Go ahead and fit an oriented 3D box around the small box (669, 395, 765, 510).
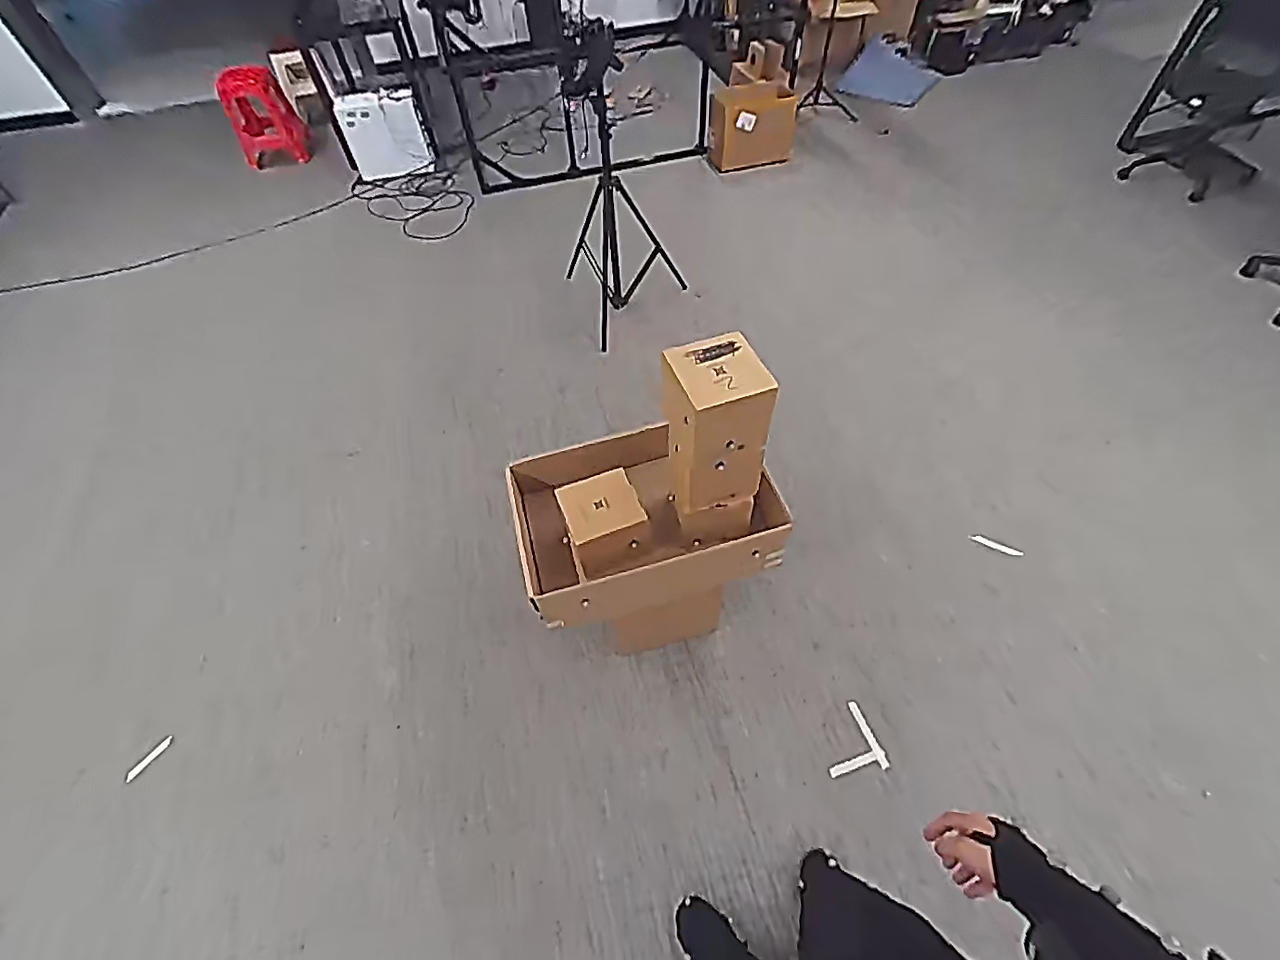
[{"bbox_3d":[0.162,-0.060,1.208,0.168,0.176,0.179,-13,53,-6],"label":"small box"}]
